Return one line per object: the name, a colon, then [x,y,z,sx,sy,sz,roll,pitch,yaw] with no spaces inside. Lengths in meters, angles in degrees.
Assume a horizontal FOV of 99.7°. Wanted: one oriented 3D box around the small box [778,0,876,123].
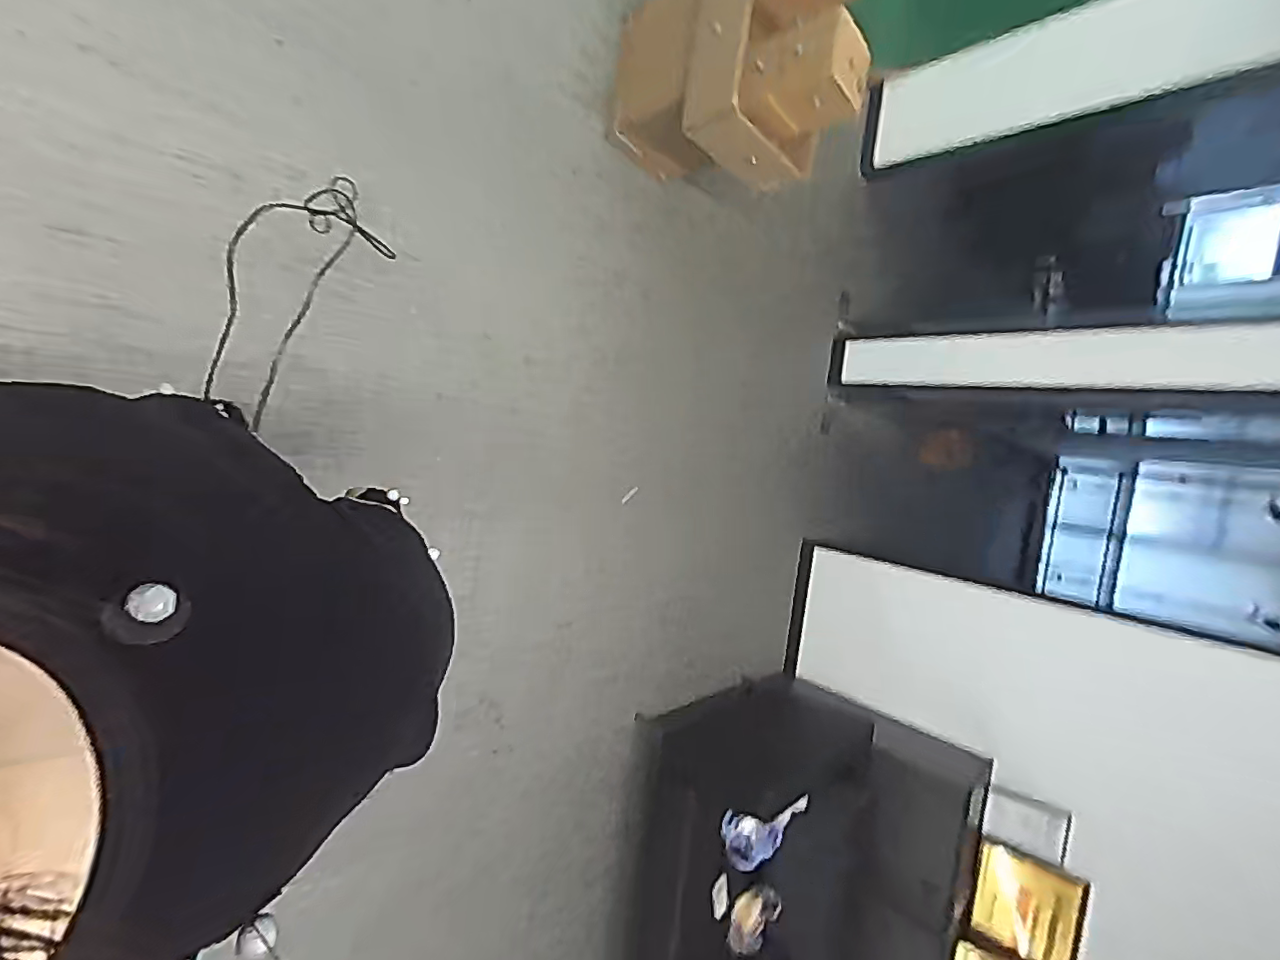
small box: [0.478,-1.063,1.392,0.179,0.176,0.168,8,93,-44]
